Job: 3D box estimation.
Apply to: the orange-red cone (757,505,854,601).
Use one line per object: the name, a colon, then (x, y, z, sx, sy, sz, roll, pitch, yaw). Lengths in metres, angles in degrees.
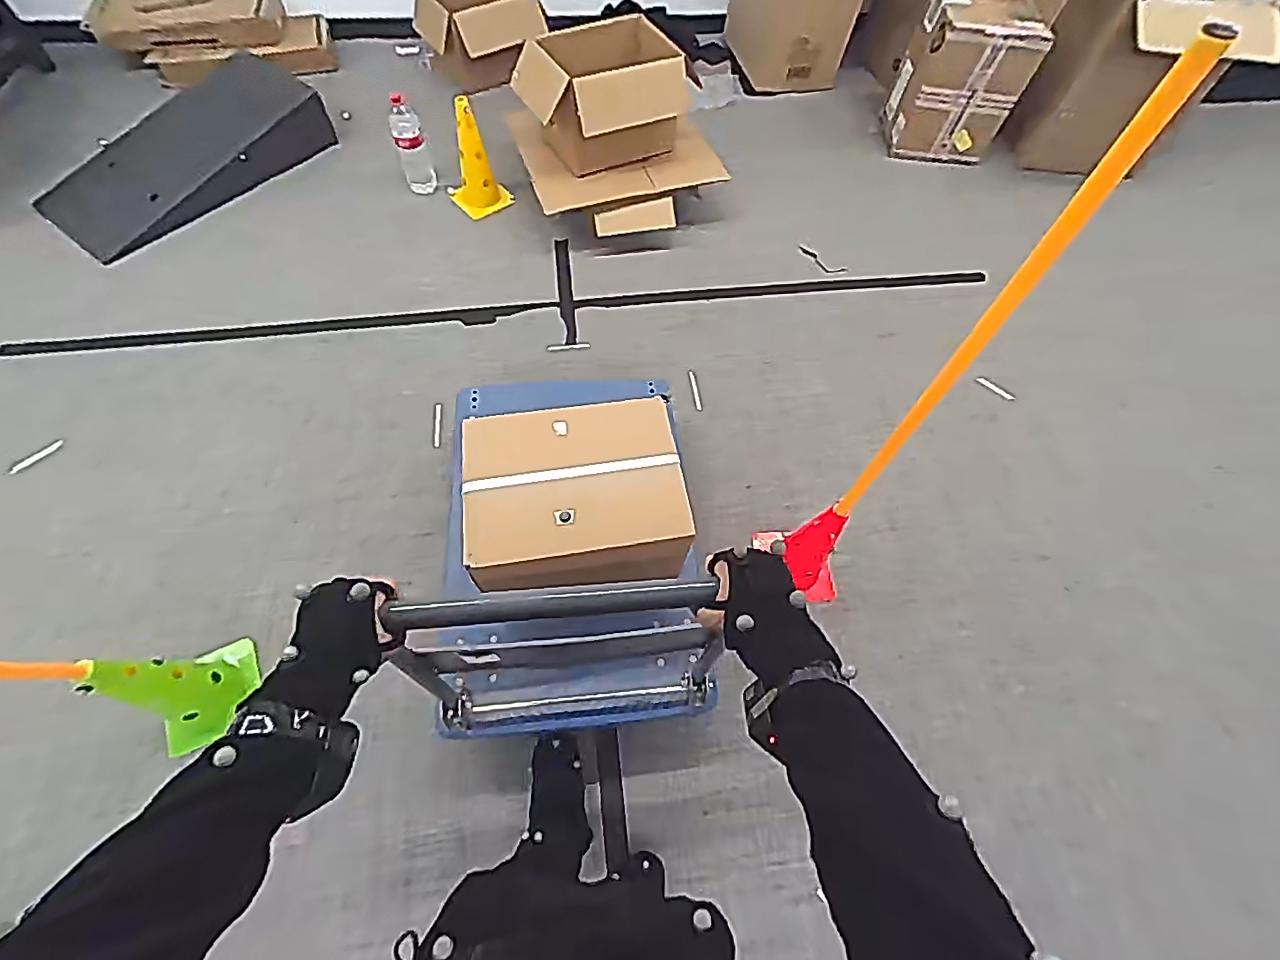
orange-red cone: (0.432, 0.150, 1.310, 0.199, 0.360, 0.198, 0, 62, -4)
